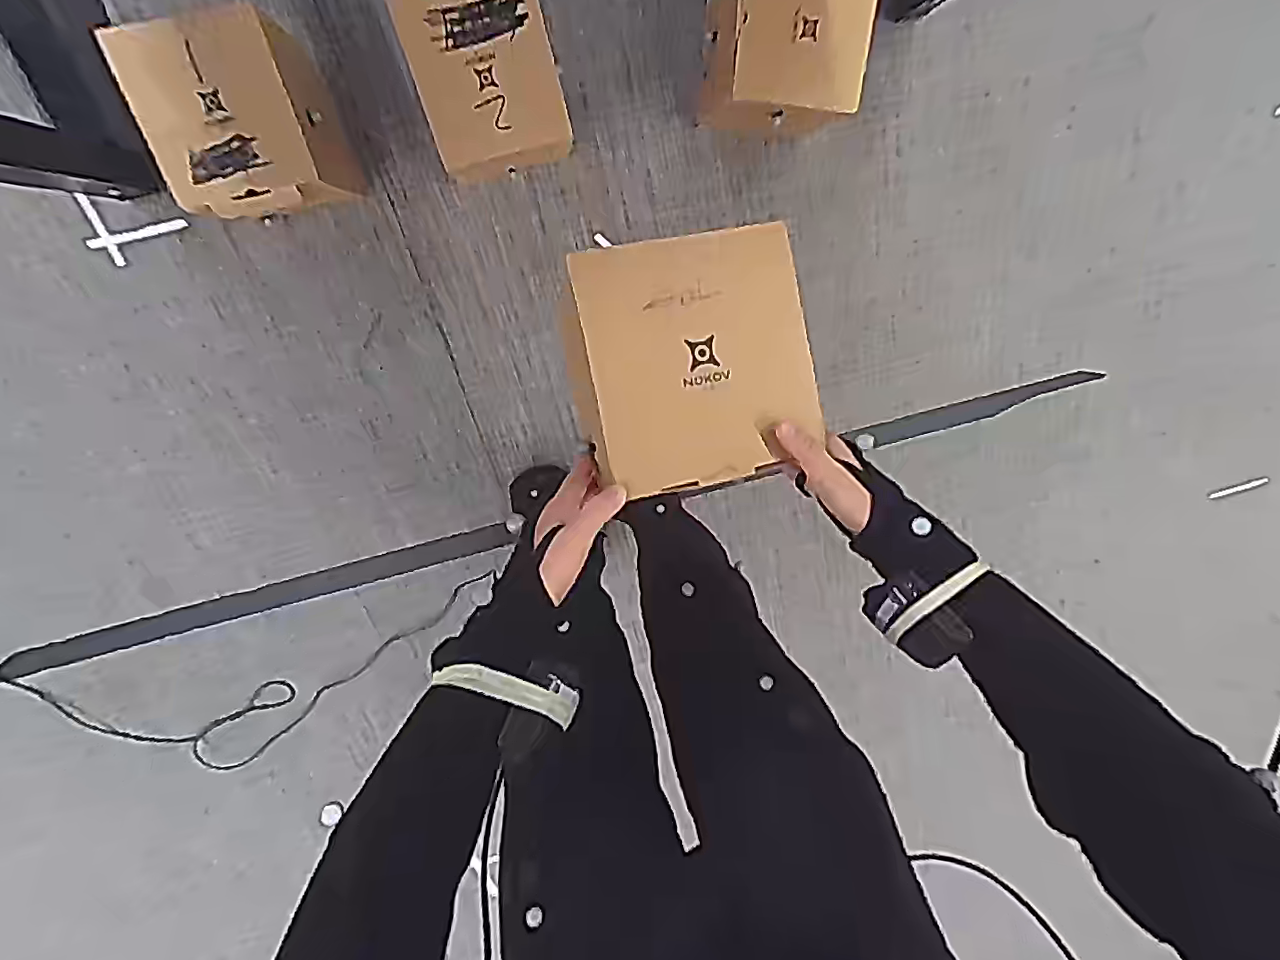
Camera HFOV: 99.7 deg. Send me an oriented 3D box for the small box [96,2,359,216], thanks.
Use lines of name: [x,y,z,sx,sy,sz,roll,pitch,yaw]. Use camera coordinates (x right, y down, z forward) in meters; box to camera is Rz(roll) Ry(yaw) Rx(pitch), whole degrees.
small box: [-0.481,-0.438,0.671,0.168,0.176,0.179,-15,113,-4]

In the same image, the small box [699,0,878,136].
small box: [0.192,-0.584,0.734,0.179,0.176,0.168,1,112,-9]
